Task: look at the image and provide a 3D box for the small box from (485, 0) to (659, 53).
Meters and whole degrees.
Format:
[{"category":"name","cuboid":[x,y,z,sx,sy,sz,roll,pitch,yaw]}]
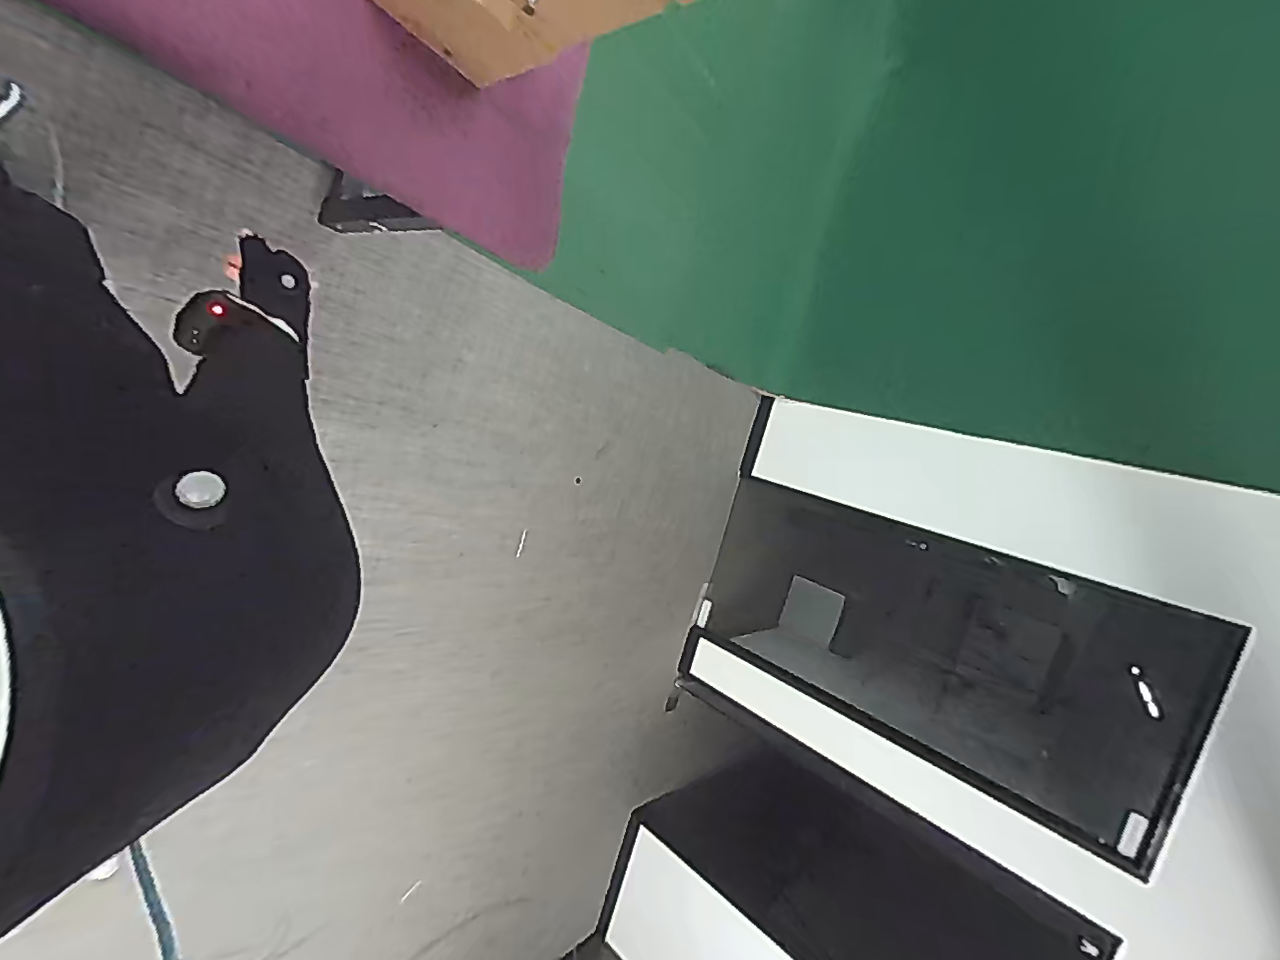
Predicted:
[{"category":"small box","cuboid":[-0.075,-0.569,0.522,0.168,0.176,0.179,7,100,-51]}]
